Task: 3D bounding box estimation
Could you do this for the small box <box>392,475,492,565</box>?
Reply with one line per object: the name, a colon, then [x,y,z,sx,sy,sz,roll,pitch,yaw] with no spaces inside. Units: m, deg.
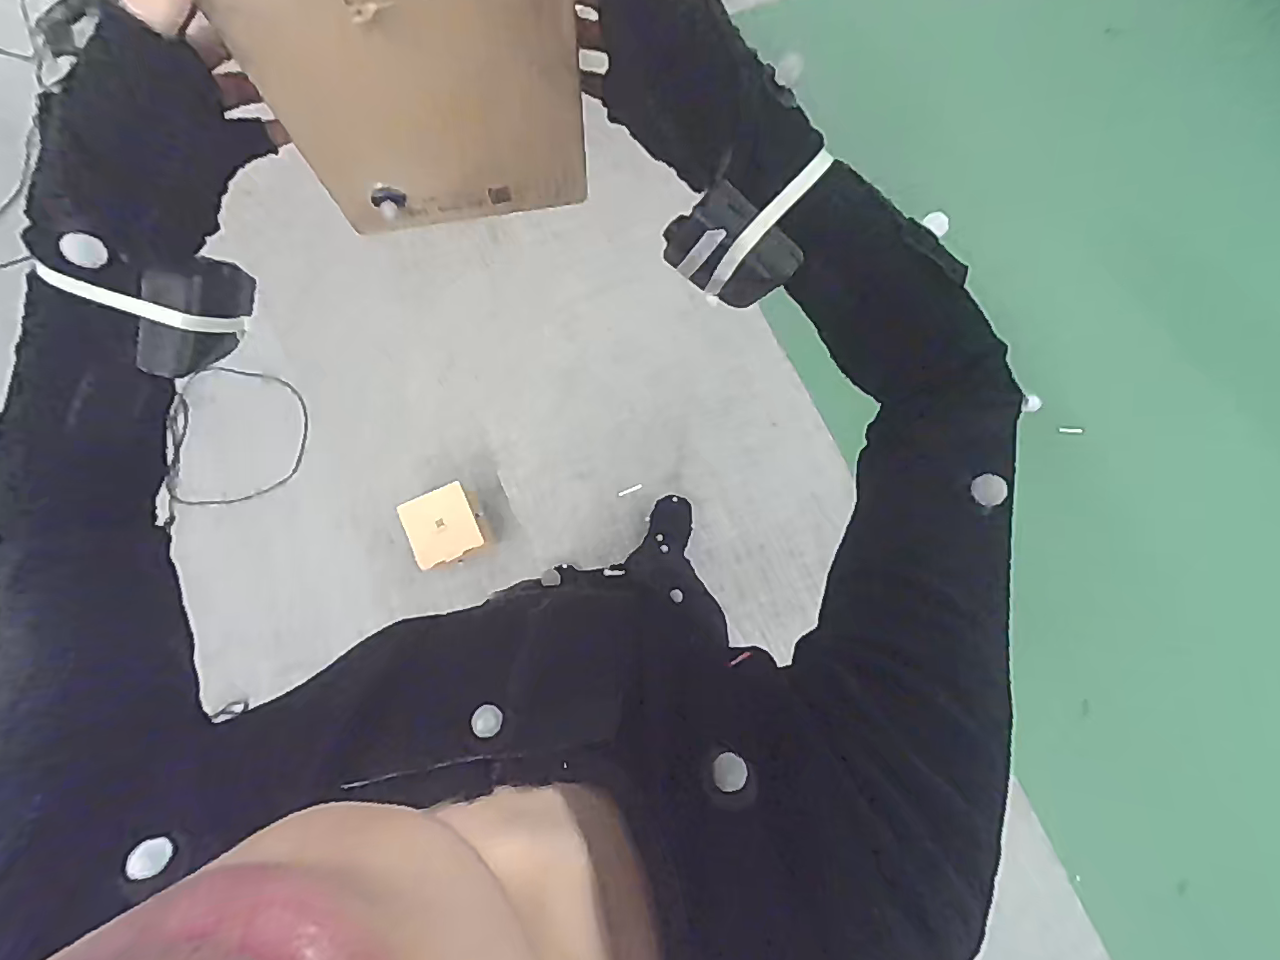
small box: [-0.503,0.109,1.396,0.168,0.176,0.179,-25,83,-7]
